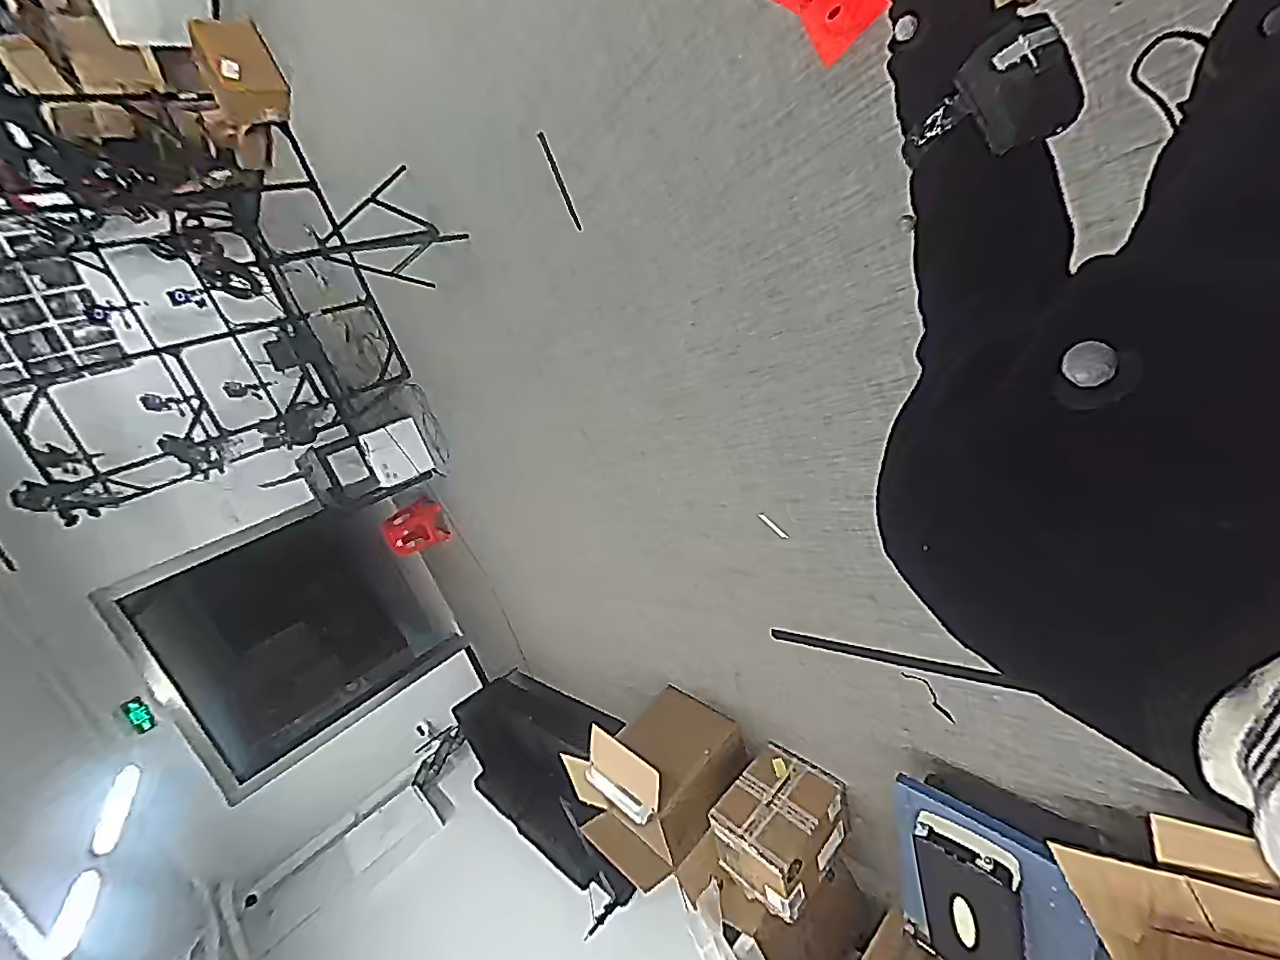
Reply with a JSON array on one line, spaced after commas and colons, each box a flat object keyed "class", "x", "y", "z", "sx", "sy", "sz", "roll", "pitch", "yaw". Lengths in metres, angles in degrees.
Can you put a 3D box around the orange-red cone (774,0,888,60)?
[{"class": "orange-red cone", "x": 0.308, "y": -0.987, "z": 1.066, "sx": 0.199, "sy": 0.360, "sz": 0.198, "roll": -19, "pitch": 100, "yaw": 56}]
